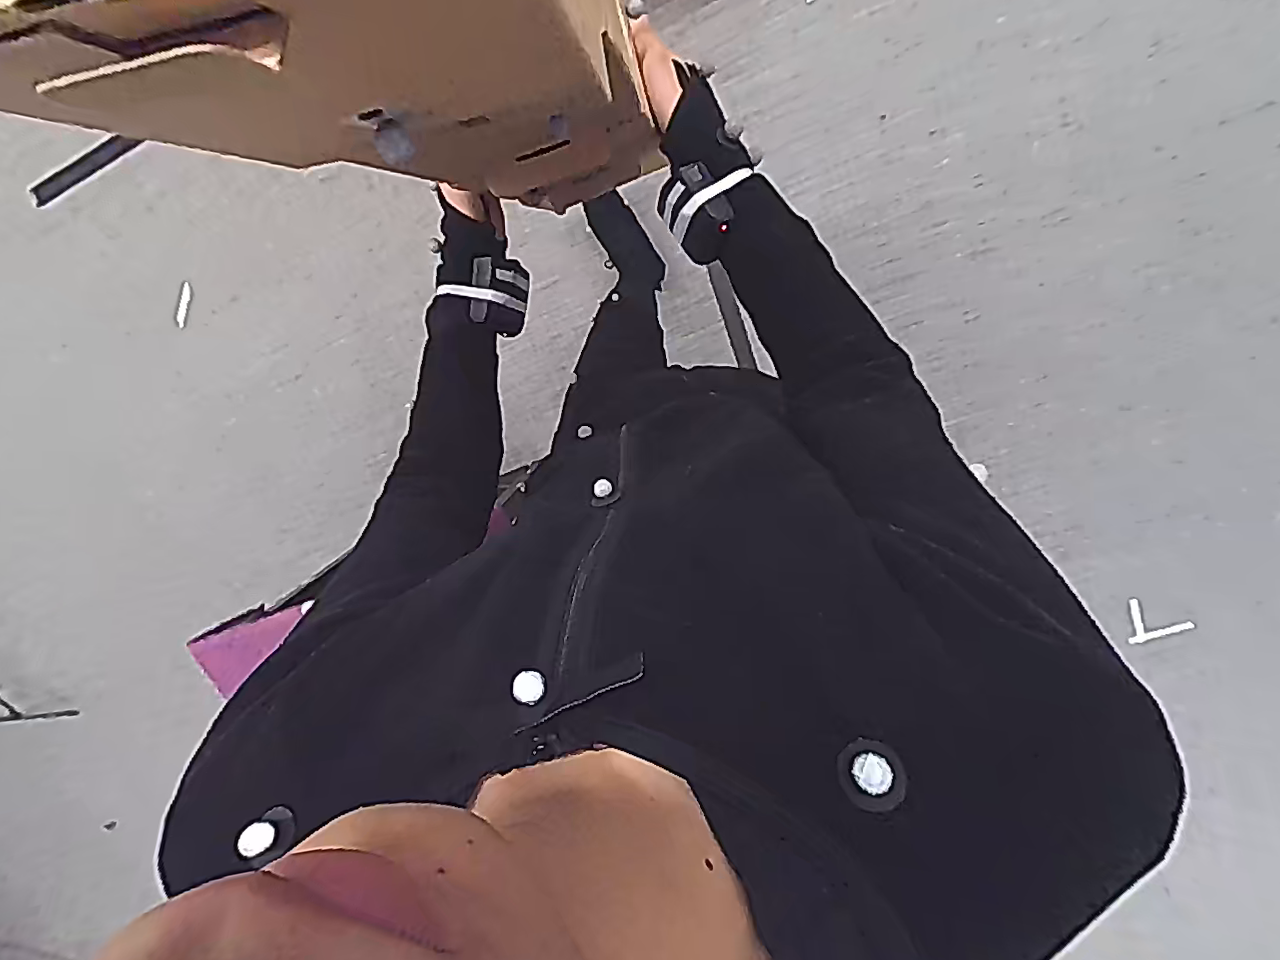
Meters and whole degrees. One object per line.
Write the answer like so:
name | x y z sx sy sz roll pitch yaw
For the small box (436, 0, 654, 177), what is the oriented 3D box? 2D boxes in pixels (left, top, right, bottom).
small box | -0.089 -0.365 0.442 0.168 0.176 0.179 -13 112 11

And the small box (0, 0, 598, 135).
small box | -0.114 -0.222 0.148 0.168 0.176 0.179 -6 114 8

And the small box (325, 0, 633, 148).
small box | -0.106 -0.301 0.293 0.168 0.176 0.179 -12 112 10
